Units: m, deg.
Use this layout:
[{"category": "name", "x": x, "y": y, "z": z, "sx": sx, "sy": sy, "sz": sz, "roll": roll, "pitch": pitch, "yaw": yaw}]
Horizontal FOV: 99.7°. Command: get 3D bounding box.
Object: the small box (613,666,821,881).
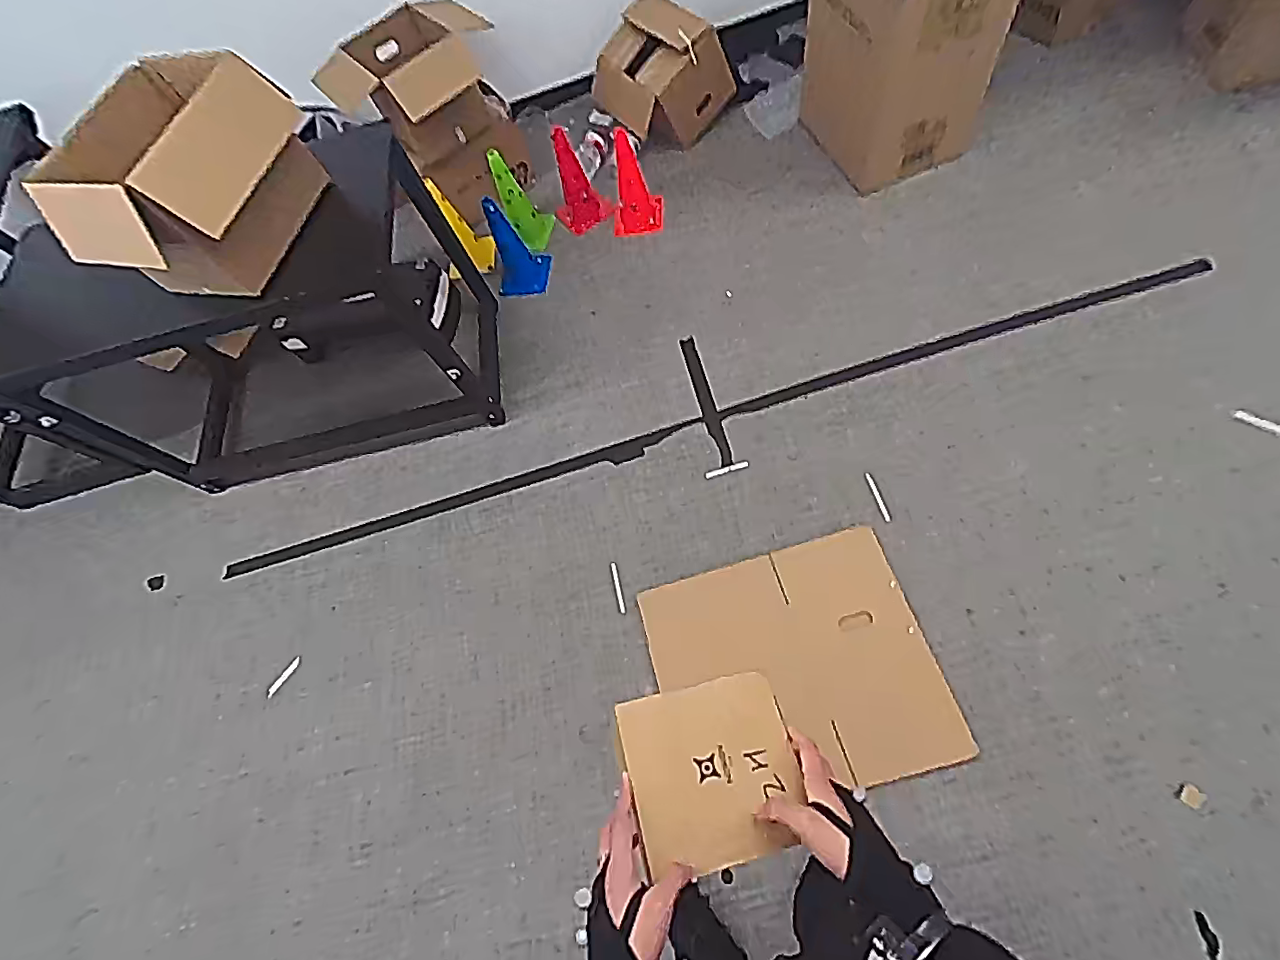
[{"category": "small box", "x": 0.070, "y": 0.332, "z": 0.615, "sx": 0.179, "sy": 0.176, "sz": 0.168, "roll": -10, "pitch": 58, "yaw": -11}]
